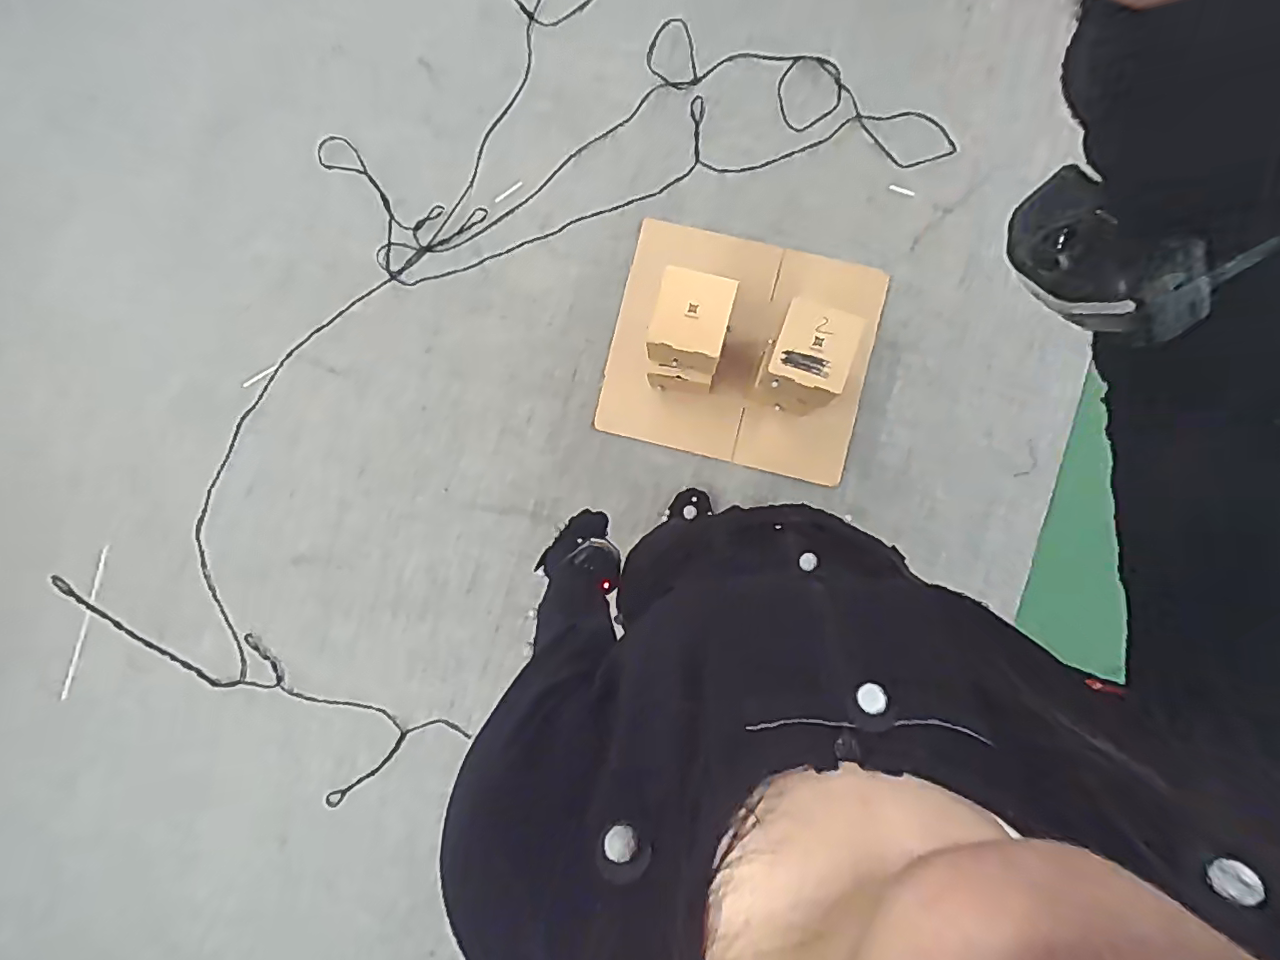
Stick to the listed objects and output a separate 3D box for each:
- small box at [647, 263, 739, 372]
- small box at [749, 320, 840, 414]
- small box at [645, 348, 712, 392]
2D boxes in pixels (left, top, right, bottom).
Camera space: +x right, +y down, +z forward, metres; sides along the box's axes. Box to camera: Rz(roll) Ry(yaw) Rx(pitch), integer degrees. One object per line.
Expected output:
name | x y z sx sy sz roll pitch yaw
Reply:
small box | 0.117 -0.366 1.247 0.168 0.176 0.179 15 90 3
small box | 0.389 -0.285 1.395 0.168 0.176 0.179 19 91 5
small box | 0.115 -0.337 1.410 0.168 0.176 0.179 12 89 4
